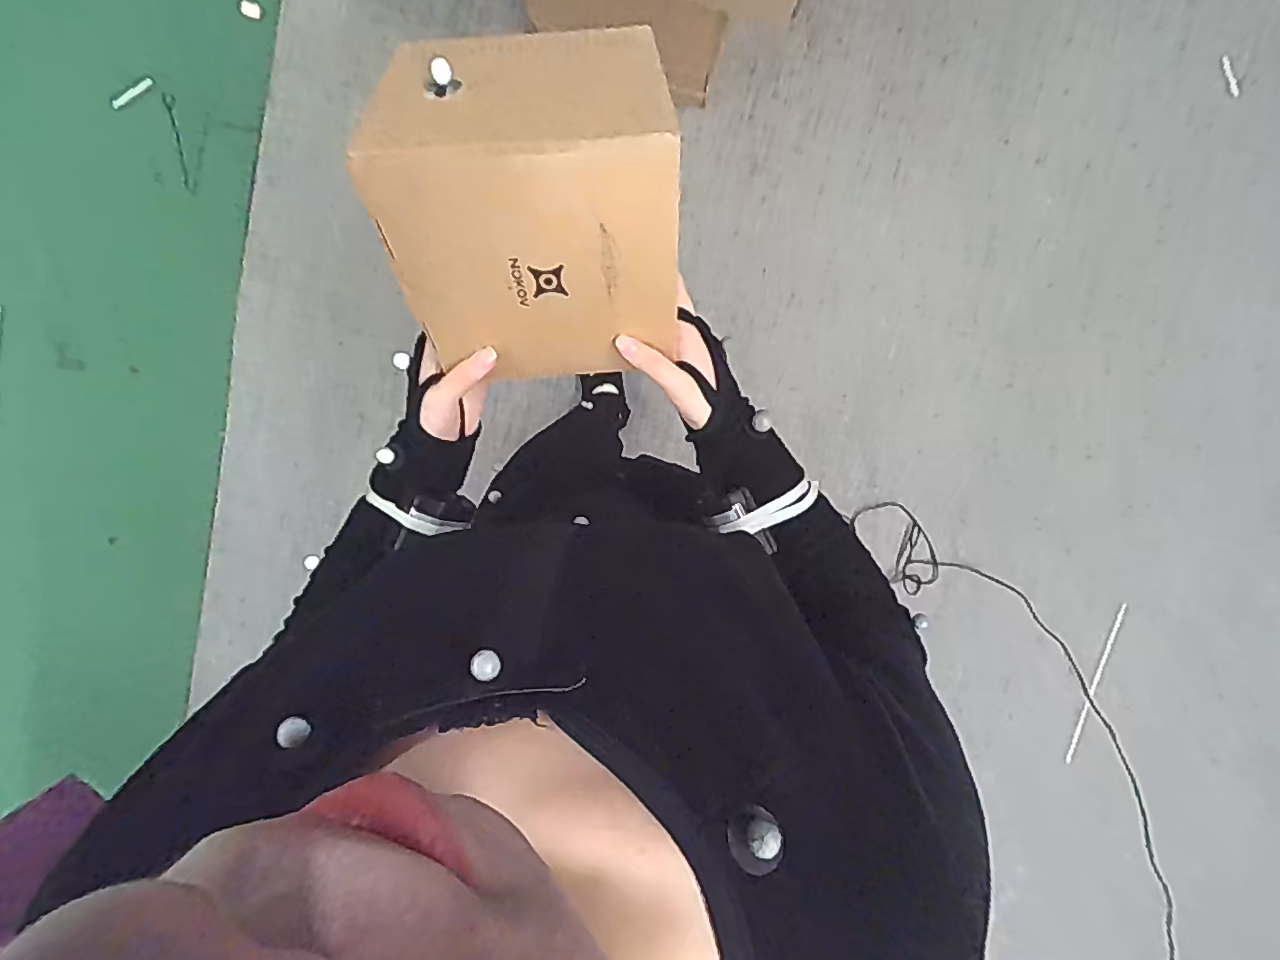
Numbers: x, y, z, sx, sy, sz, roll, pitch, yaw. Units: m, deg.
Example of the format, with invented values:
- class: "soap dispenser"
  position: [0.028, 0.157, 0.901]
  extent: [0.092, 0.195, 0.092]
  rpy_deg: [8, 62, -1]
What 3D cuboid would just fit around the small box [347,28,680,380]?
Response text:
- class: "small box"
  position: [-0.069, -0.194, 0.389]
  extent: [0.179, 0.168, 0.176]
  rpy_deg: [-5, 55, -1]
